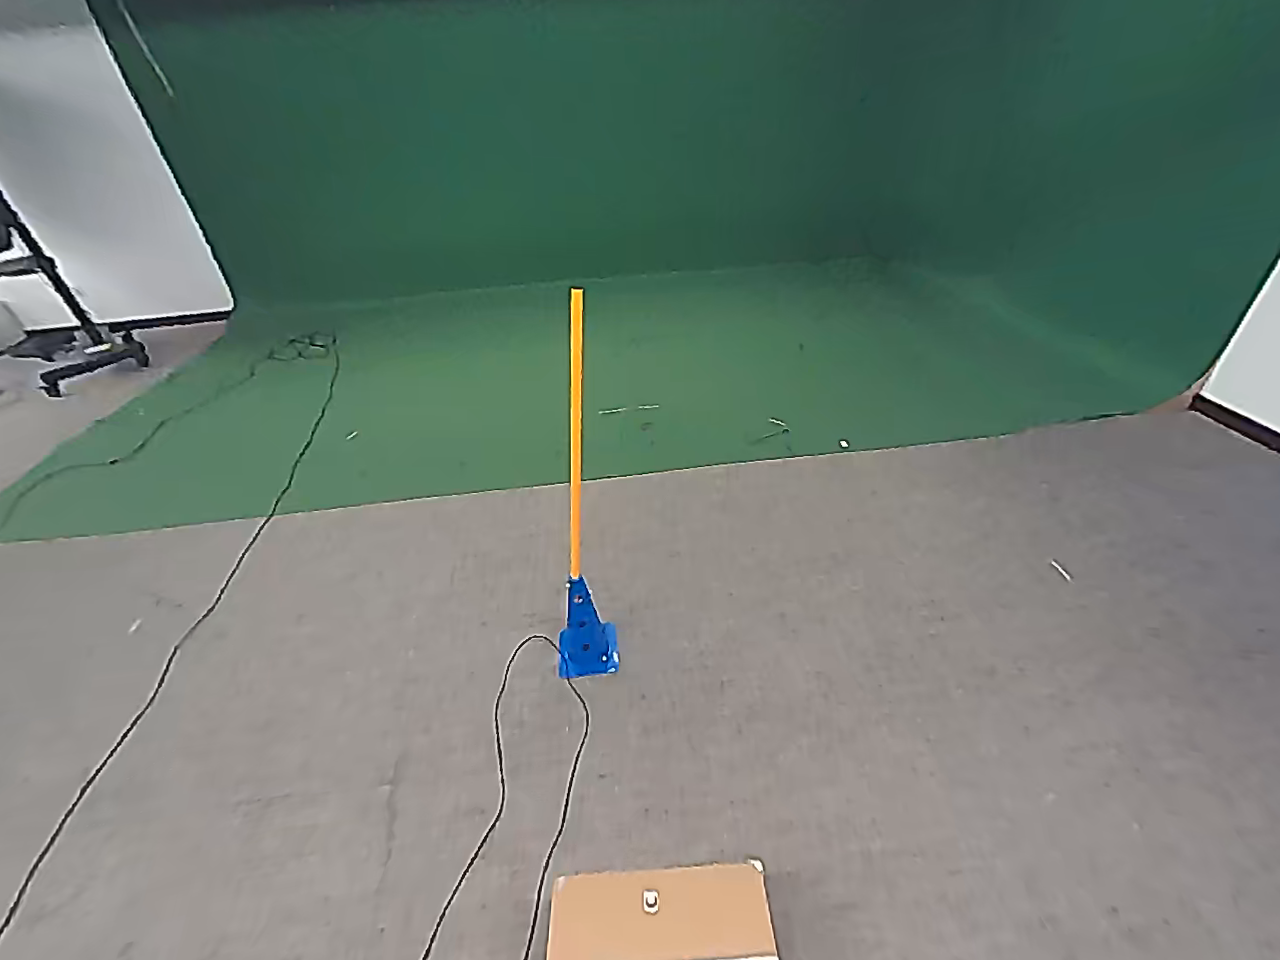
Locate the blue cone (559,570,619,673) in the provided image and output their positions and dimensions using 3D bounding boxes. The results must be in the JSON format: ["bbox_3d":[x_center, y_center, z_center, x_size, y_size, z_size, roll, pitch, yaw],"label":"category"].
[{"bbox_3d":[-0.179,0.422,1.715,0.193,0.380,0.192,-7,37,-6],"label":"blue cone"}]
